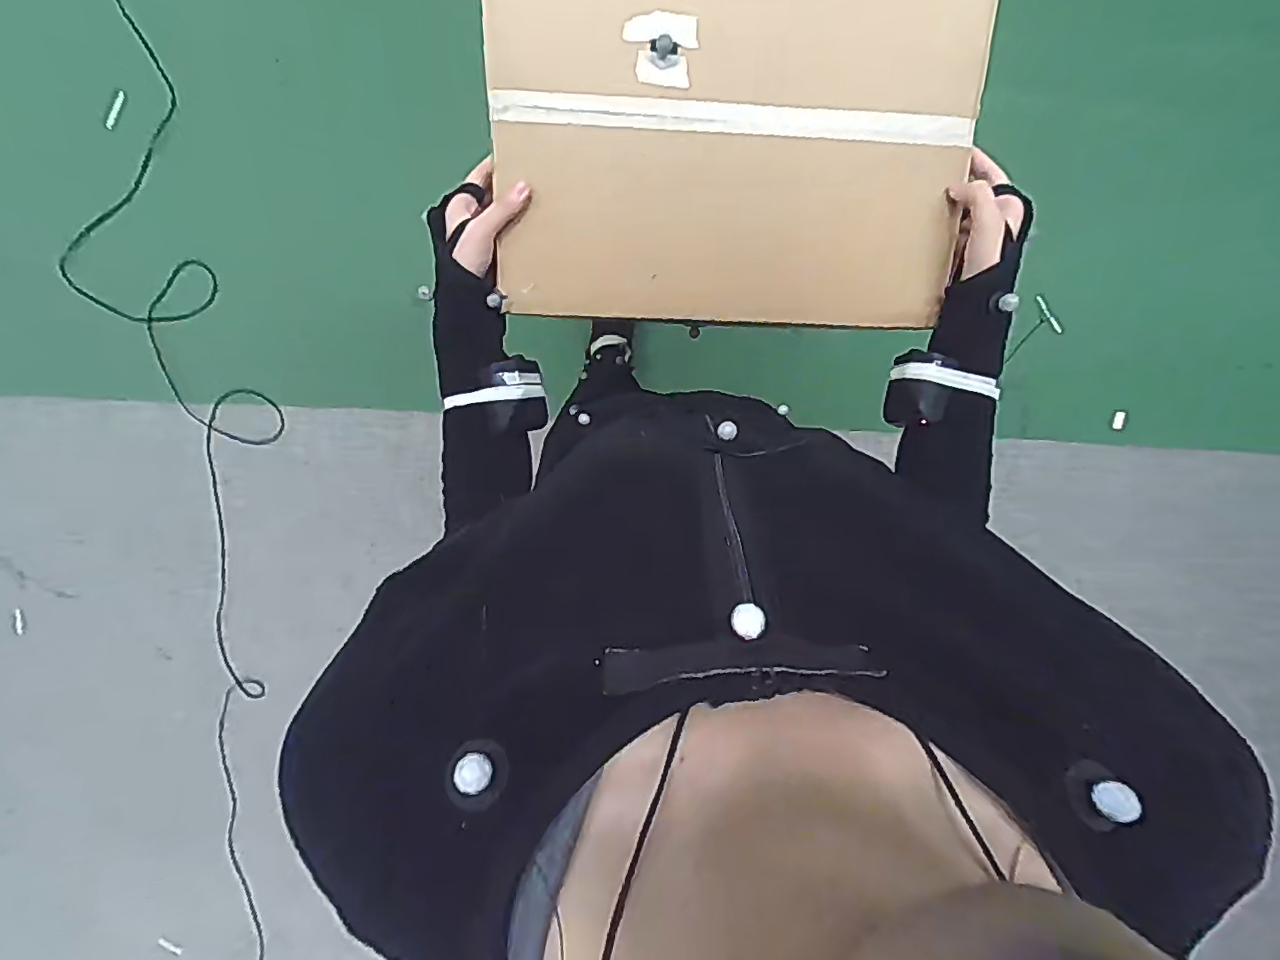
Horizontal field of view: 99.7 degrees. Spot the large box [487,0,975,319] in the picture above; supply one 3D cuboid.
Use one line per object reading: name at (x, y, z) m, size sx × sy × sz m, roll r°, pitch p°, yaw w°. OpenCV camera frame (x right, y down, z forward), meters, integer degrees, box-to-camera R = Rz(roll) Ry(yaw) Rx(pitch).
large box at (0.067, -0.347, 0.601) m, size 0.408 × 0.320 × 0.320 m, roll 1°, pitch 106°, yaw -4°
